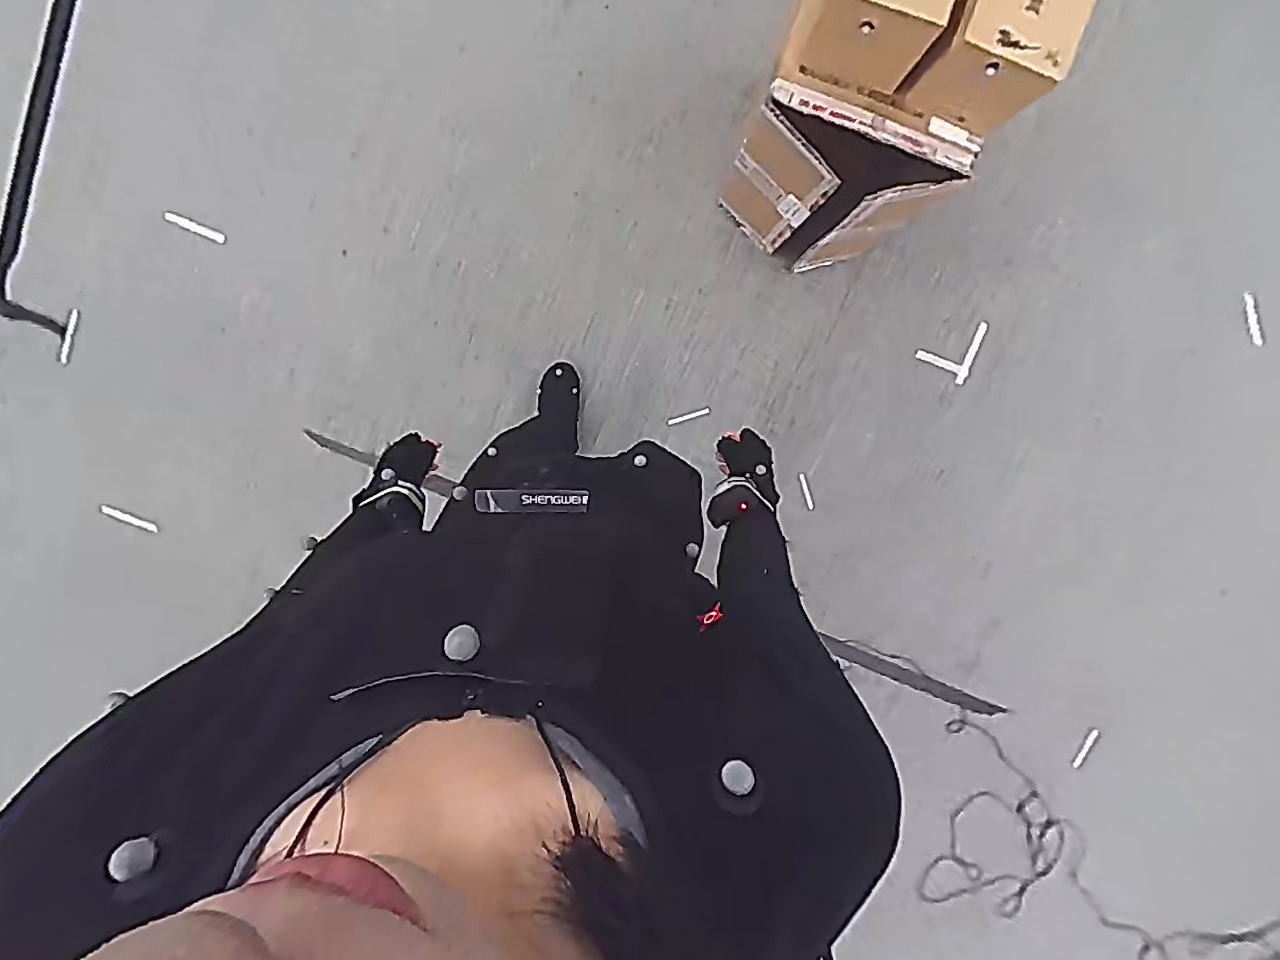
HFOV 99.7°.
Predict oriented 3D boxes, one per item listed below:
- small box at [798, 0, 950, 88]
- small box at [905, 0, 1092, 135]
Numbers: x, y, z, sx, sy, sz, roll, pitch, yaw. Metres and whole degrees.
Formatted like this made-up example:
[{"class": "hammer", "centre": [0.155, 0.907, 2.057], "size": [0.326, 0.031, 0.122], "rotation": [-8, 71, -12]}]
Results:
[{"class": "small box", "centre": [0.366, -0.754, 0.834], "size": [0.179, 0.176, 0.168], "rotation": [16, 96, -3]}, {"class": "small box", "centre": [0.555, -0.695, 0.850], "size": [0.168, 0.176, 0.179], "rotation": [18, 96, -6]}]
